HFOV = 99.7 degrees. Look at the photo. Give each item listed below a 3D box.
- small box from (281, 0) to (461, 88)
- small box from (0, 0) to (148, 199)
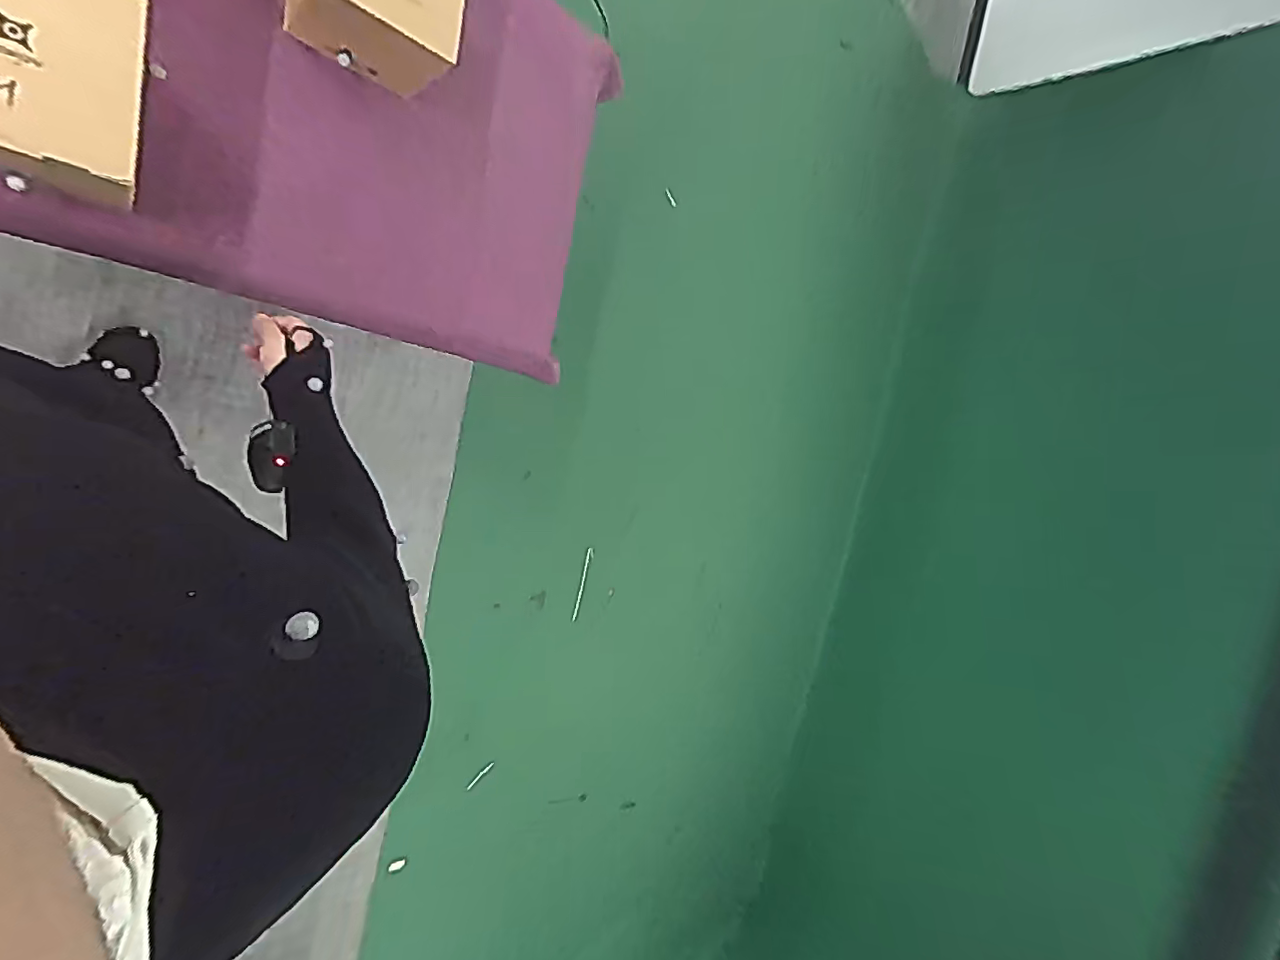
[{"bbox_3d":[-0.340,-0.654,0.691,0.168,0.176,0.179,4,100,-45],"label":"small box"},{"bbox_3d":[-0.591,-0.398,0.512,0.168,0.176,0.179,5,98,-46],"label":"small box"}]
